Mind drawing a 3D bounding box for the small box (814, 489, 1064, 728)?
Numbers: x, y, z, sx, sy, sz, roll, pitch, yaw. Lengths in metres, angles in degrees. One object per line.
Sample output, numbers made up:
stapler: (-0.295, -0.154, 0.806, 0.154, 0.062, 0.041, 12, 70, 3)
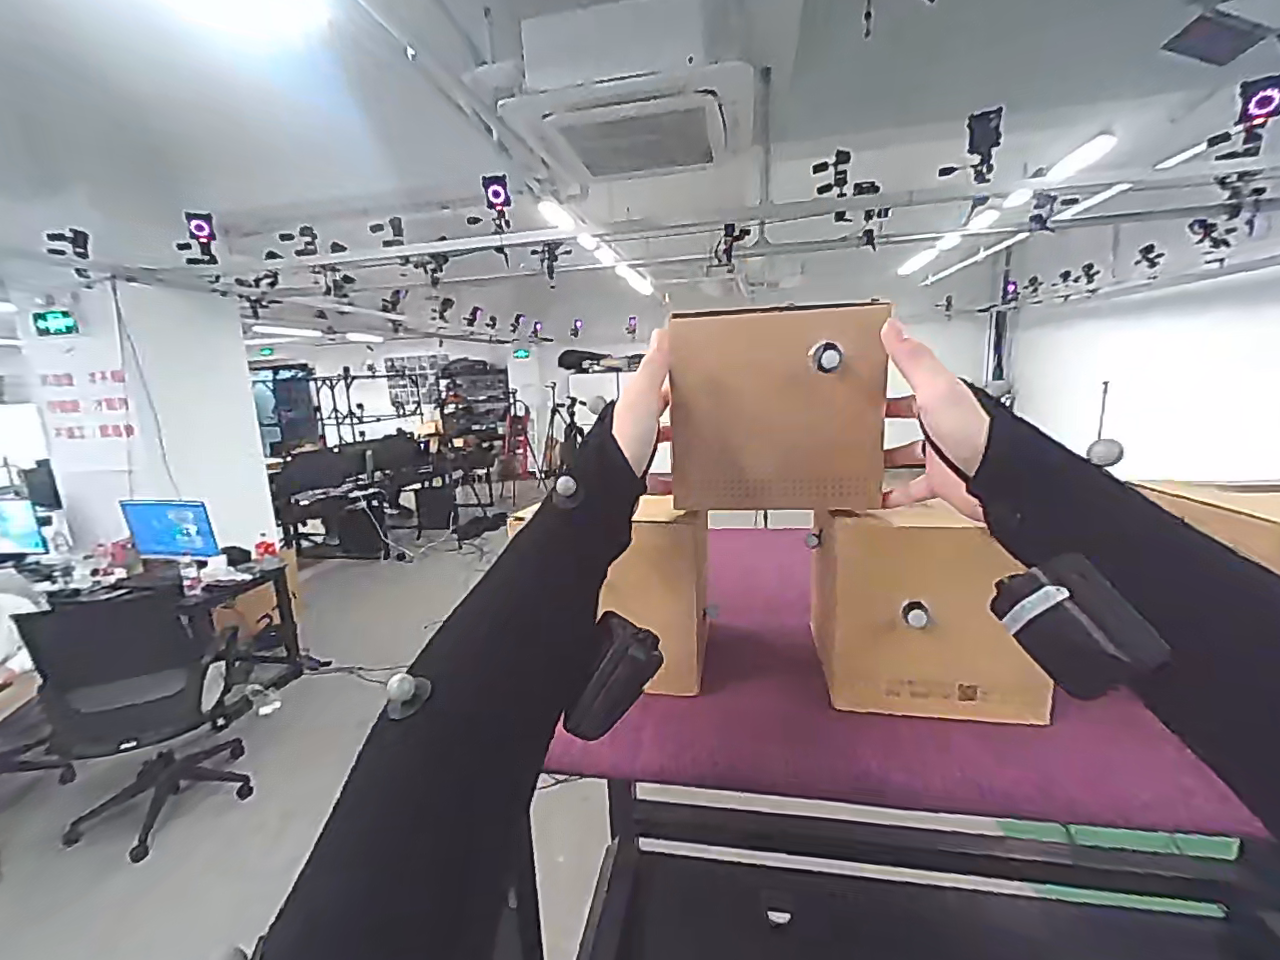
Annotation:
small box: (0.259, 0.108, 0.510, 0.168, 0.176, 0.179, -1, 9, 12)

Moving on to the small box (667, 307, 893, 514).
small box: (0.126, -0.067, 0.518, 0.179, 0.176, 0.168, -1, 13, 11)

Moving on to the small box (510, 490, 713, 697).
small box: (-0.018, 0.108, 0.570, 0.179, 0.176, 0.168, 0, 10, 11)
